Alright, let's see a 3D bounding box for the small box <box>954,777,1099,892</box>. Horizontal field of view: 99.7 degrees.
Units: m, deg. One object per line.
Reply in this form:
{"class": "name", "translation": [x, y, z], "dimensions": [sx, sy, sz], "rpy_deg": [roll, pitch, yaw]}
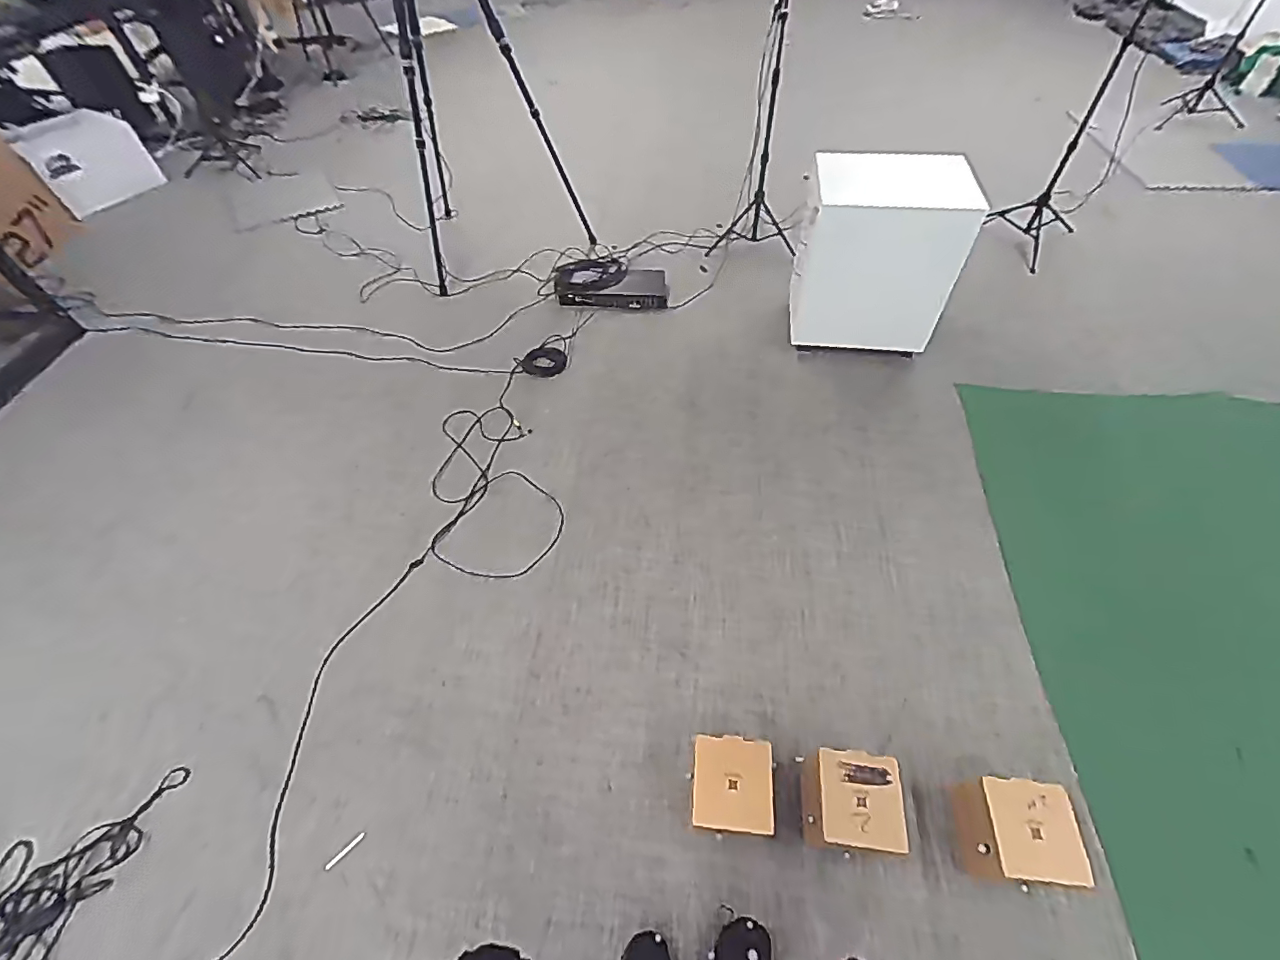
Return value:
{"class": "small box", "translation": [0.787, 0.737, 1.124], "dimensions": [0.168, 0.176, 0.179], "rpy_deg": [4, 53, 5]}

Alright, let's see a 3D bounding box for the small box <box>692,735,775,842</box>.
{"class": "small box", "translation": [0.203, 0.683, 1.192], "dimensions": [0.168, 0.176, 0.179], "rpy_deg": [3, 52, 6]}
